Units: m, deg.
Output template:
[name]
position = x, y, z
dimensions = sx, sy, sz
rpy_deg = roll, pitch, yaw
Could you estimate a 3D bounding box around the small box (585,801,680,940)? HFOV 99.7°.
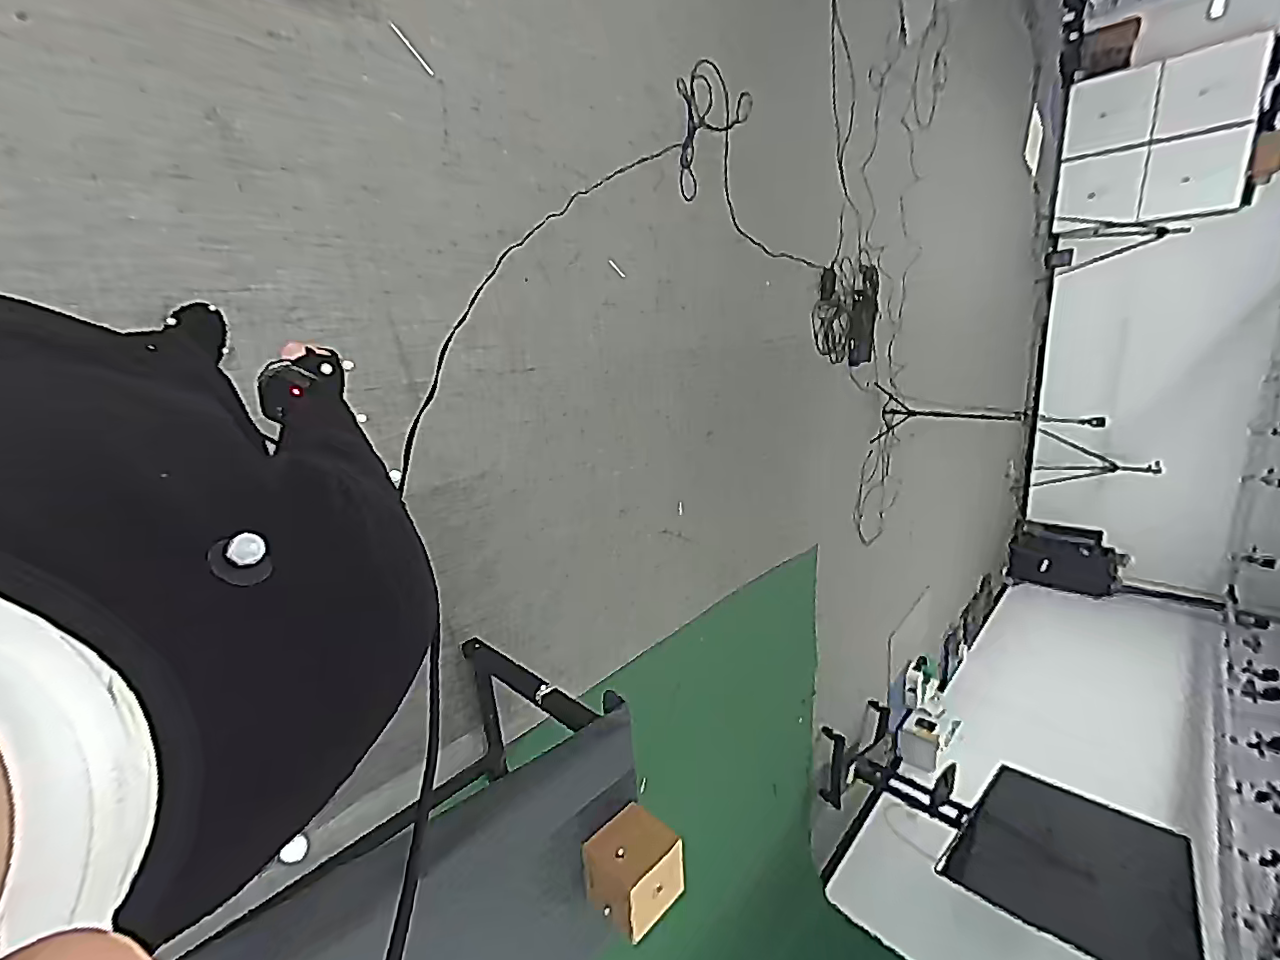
[small box]
position = -0.020, 0.932, 1.310
dimensions = 0.179, 0.176, 0.168
rpy_deg = -15, 111, -44
